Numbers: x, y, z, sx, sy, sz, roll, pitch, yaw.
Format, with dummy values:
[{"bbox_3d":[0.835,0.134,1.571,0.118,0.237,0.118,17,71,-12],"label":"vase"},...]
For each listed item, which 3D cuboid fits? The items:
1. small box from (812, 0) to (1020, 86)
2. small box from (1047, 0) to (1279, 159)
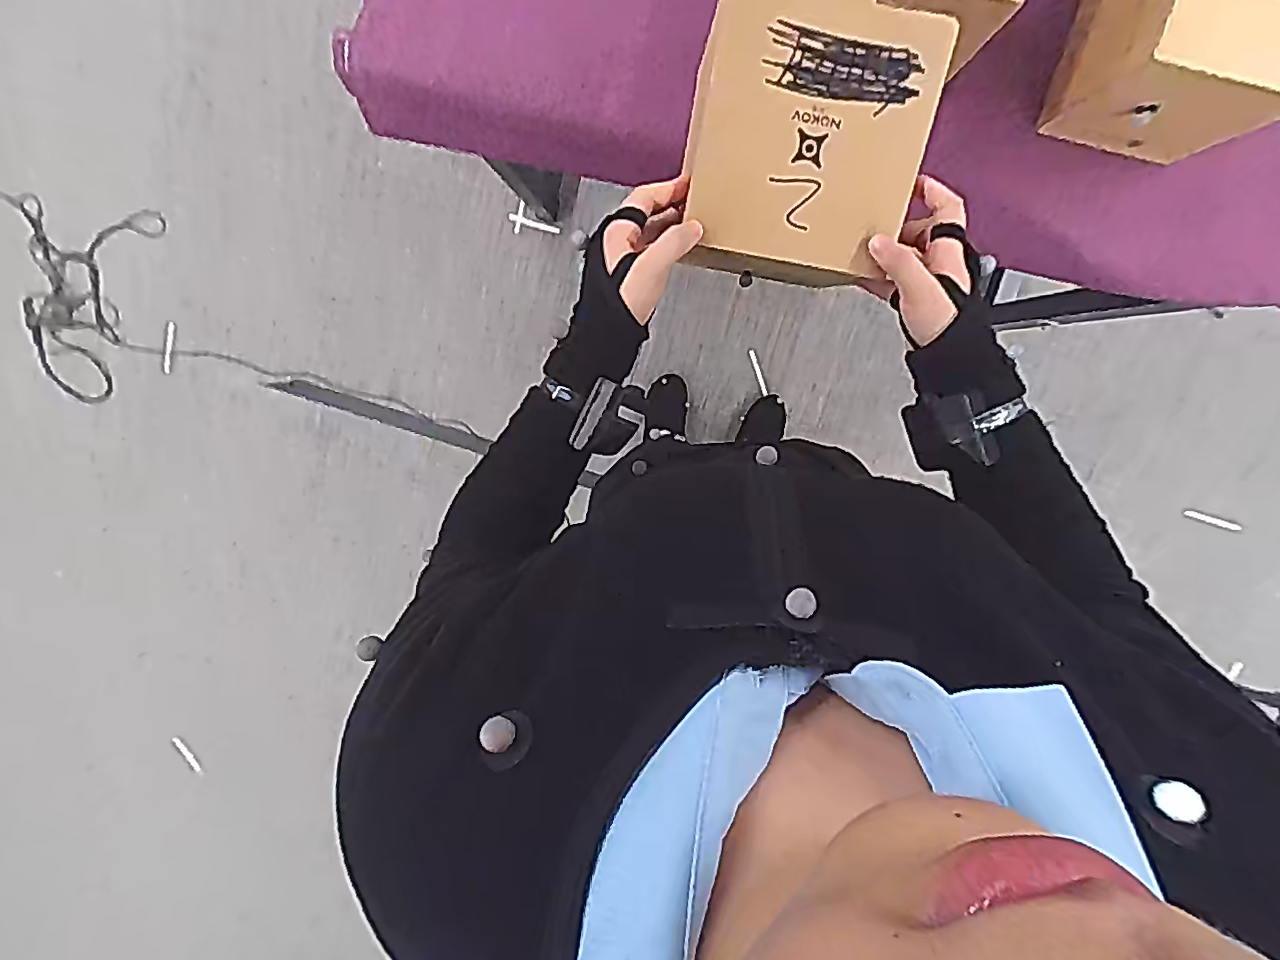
[{"bbox_3d":[0.290,-0.546,0.547,0.168,0.176,0.179,14,101,-1],"label":"small box"},{"bbox_3d":[0.569,-0.462,0.551,0.168,0.176,0.179,15,102,0],"label":"small box"}]
